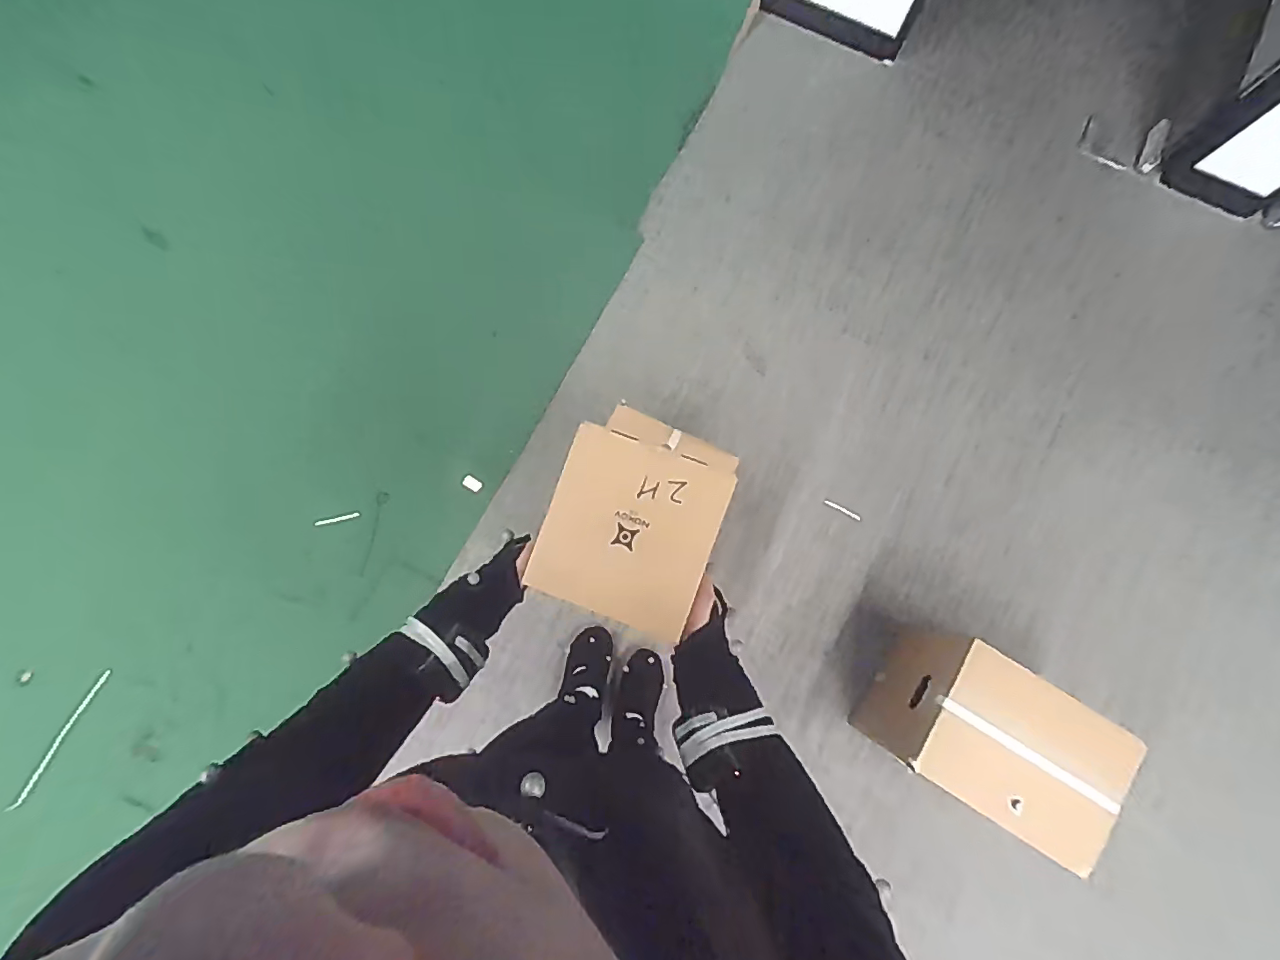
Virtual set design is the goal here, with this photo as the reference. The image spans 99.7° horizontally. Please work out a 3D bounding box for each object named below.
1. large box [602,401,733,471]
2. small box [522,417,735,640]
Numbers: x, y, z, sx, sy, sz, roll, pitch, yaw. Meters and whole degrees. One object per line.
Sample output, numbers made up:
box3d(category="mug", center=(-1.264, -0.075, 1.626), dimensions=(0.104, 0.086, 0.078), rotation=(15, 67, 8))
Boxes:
box3d(category="large box", center=(-0.009, 0.082, 1.355), dimensions=(0.320, 0.320, 0.408), rotation=(26, 80, 3))
box3d(category="small box", center=(-0.007, 0.050, 0.605), dimensions=(0.168, 0.176, 0.179), rotation=(20, 88, 3))
